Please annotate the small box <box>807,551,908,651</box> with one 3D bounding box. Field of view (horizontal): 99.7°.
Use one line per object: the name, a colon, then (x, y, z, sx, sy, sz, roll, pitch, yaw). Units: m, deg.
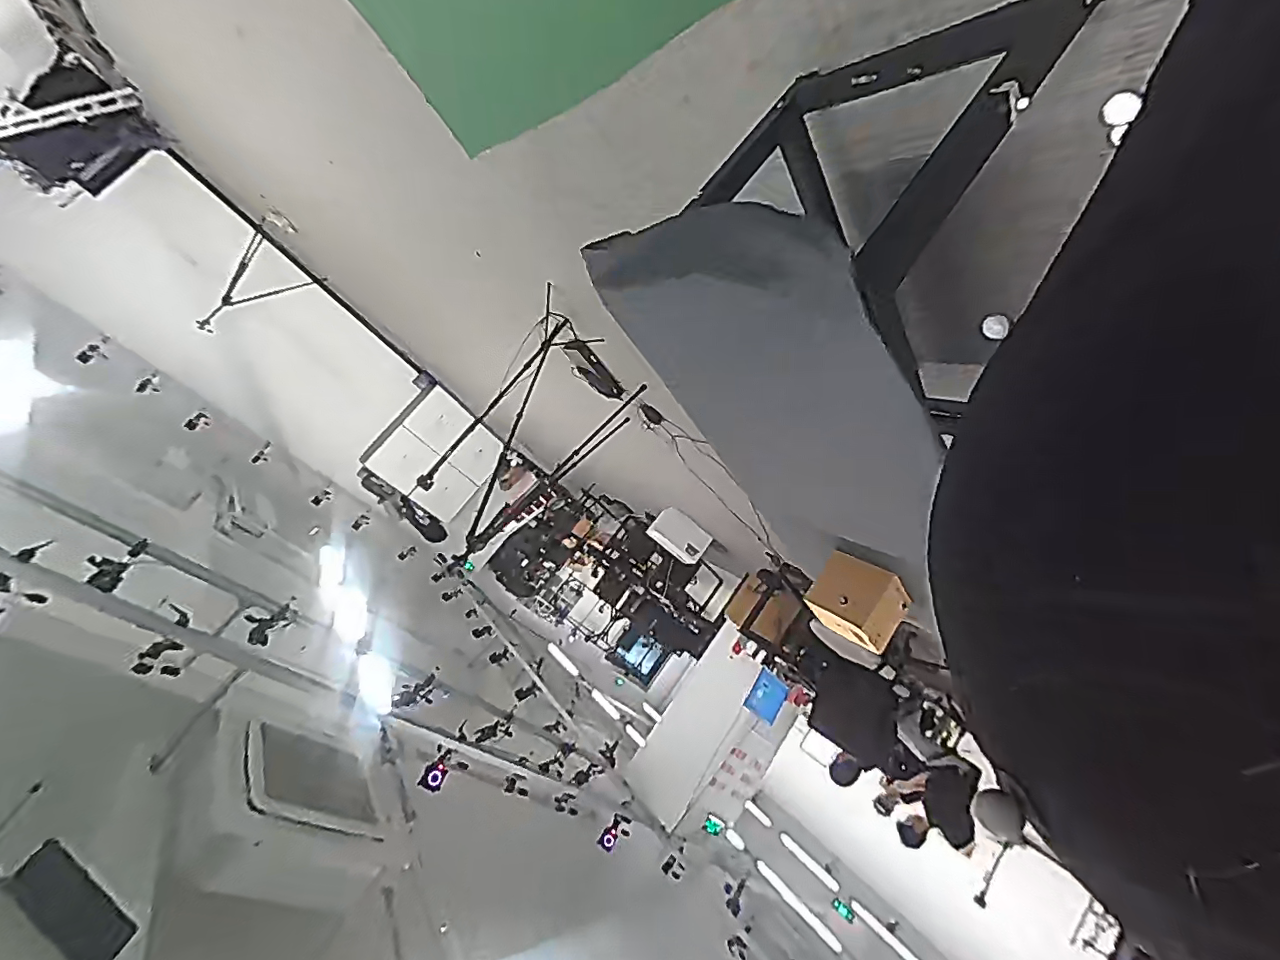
small box: (0.581, 0.311, 1.425, 0.179, 0.176, 0.168, 24, 161, 51)
